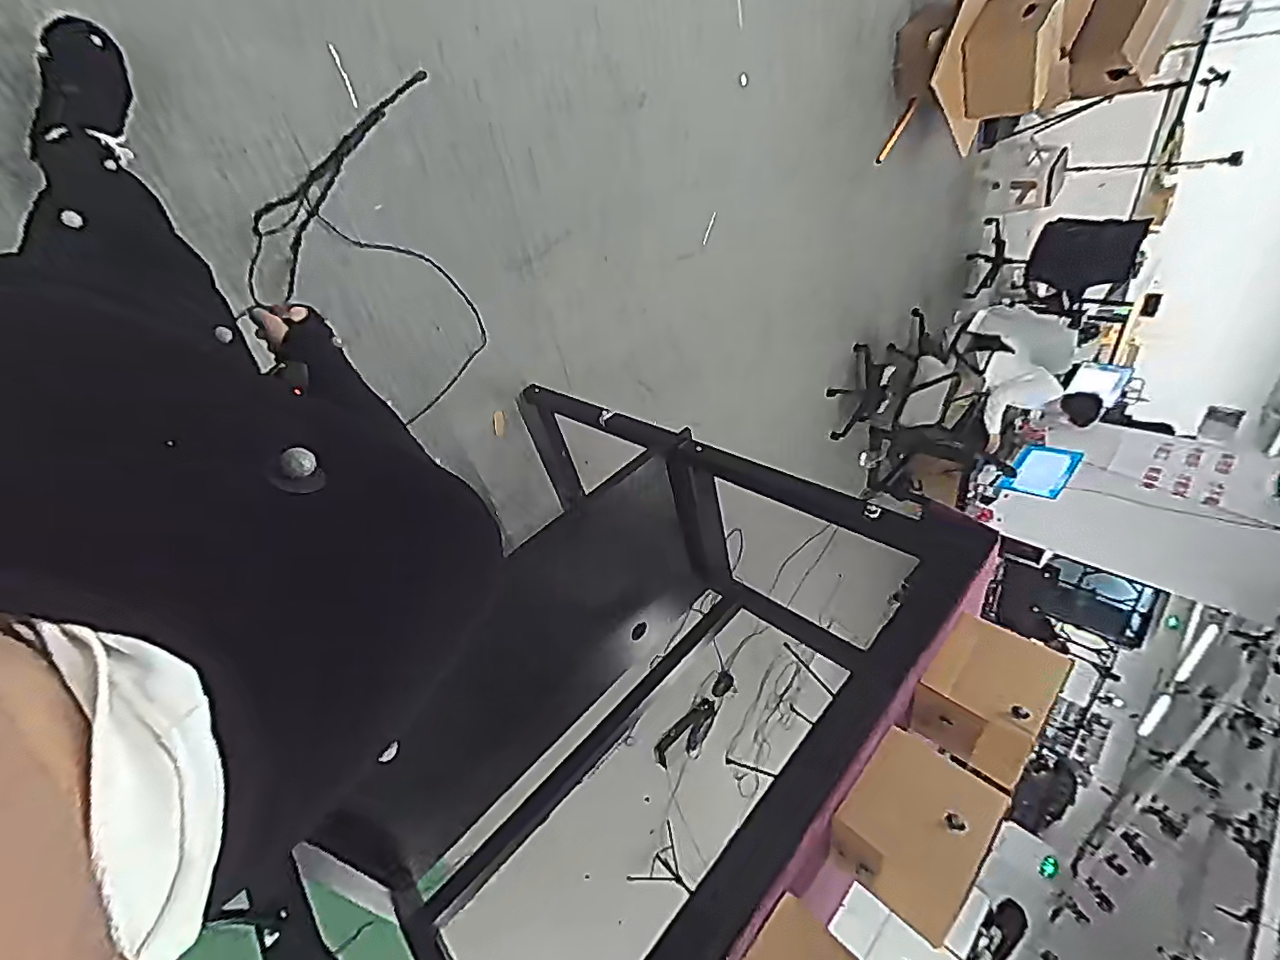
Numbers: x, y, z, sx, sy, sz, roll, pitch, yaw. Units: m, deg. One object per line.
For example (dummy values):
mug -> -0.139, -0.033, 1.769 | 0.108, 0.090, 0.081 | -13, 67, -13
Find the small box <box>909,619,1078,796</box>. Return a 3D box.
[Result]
small box -> 0.574, 0.366, 0.895 | 0.179, 0.176, 0.168 | -40, 134, -24

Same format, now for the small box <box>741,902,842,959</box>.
small box -> 0.189, 0.668, 0.649 | 0.179, 0.176, 0.168 | -36, 132, -29

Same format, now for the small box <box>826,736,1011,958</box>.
small box -> 0.391, 0.514, 0.778 | 0.179, 0.176, 0.168 | -36, 132, -28
